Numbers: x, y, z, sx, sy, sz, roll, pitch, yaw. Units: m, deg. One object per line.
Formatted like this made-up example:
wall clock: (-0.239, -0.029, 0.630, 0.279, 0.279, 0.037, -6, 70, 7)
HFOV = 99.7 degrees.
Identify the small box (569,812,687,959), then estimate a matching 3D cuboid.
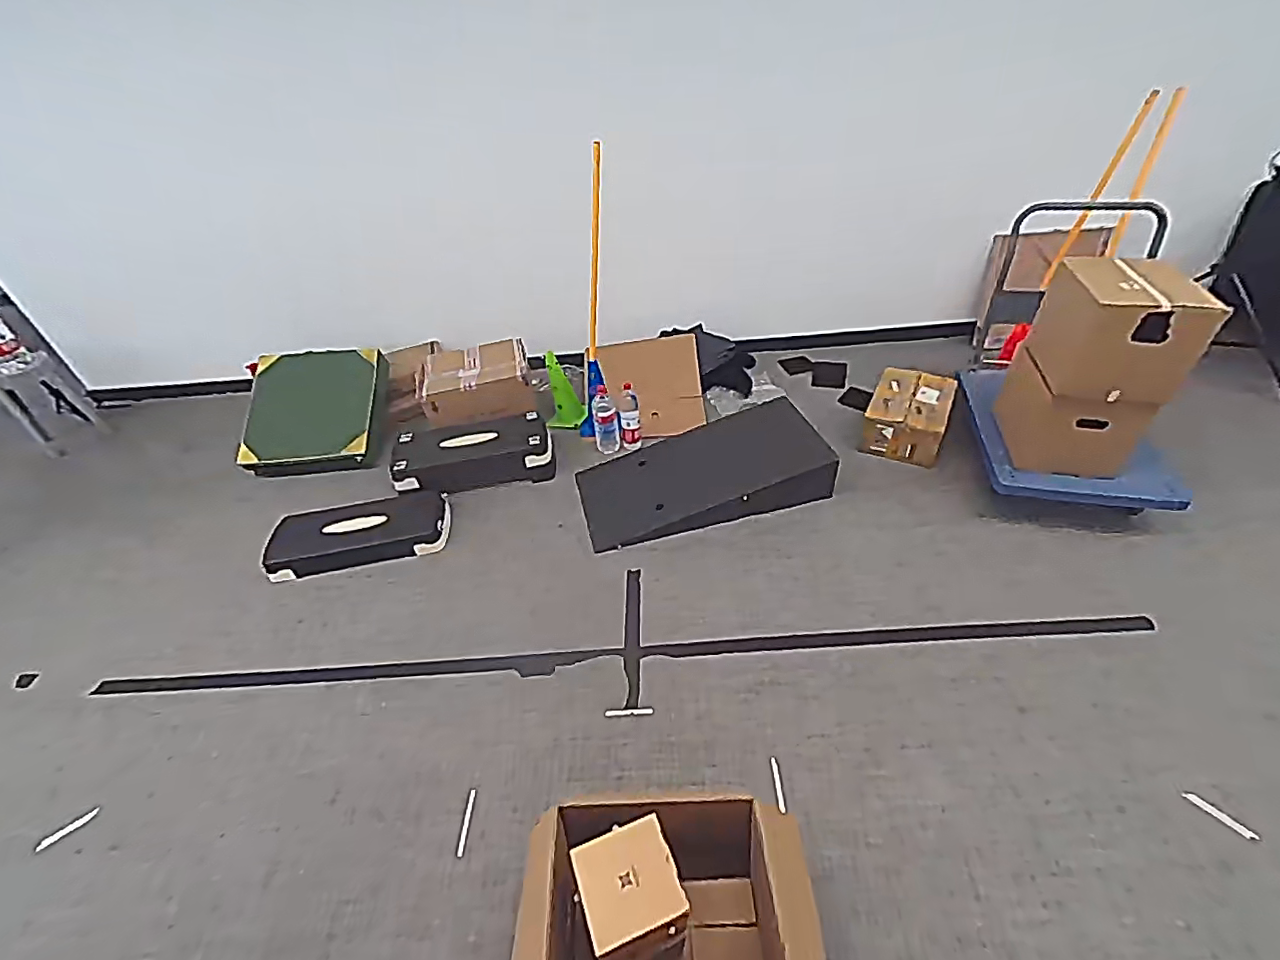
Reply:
small box: (-0.023, 0.780, 1.029, 0.179, 0.176, 0.168, -15, 43, -16)
